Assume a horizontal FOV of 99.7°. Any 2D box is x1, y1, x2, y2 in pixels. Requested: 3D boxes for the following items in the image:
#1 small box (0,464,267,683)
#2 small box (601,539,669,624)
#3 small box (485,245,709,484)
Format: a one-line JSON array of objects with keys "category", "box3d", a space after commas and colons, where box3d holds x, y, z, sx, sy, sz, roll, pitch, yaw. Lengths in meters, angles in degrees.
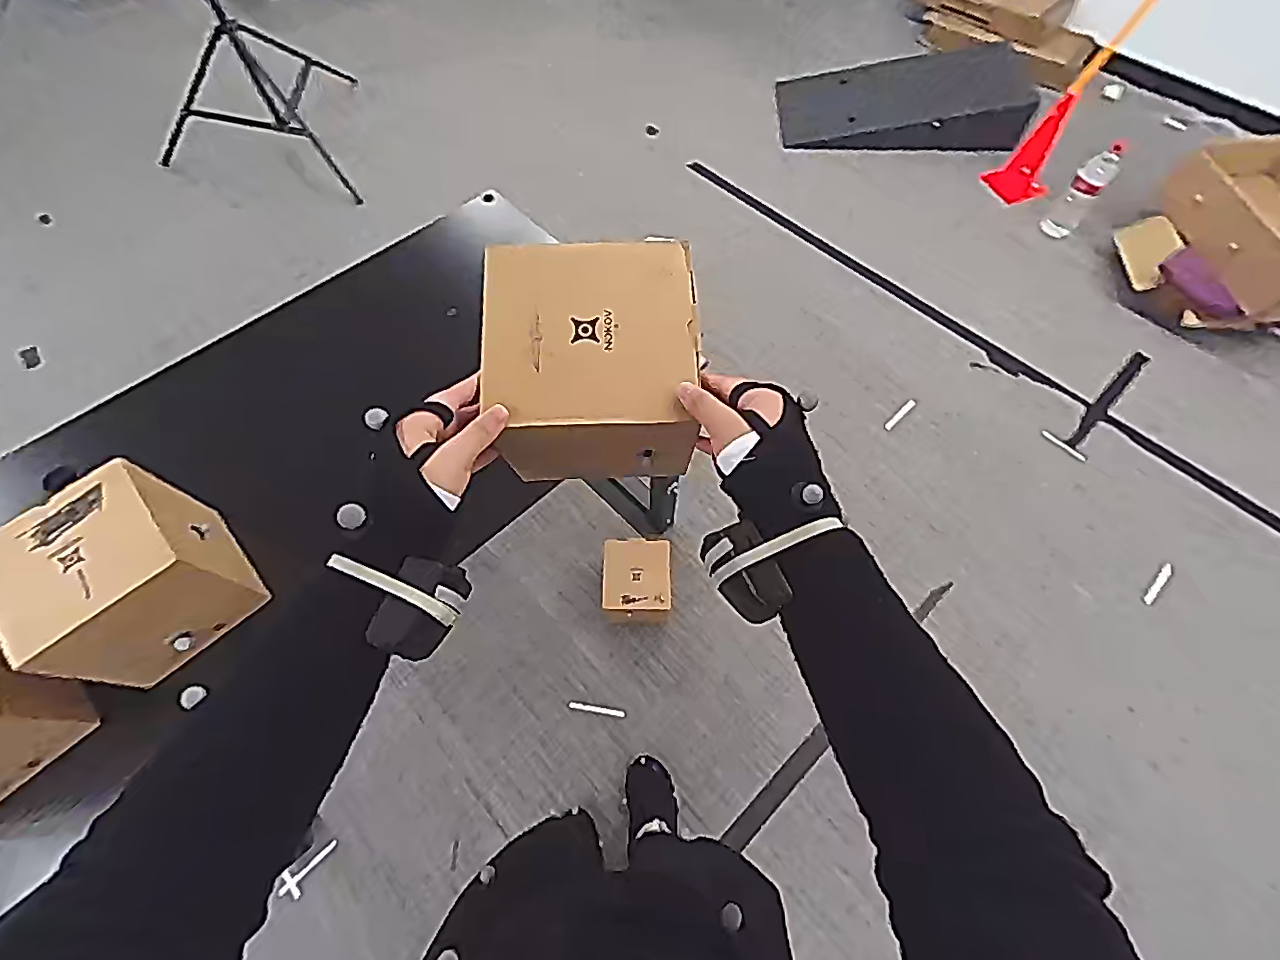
[{"category": "small box", "box3d": [-0.606, 0.120, 0.648, 0.168, 0.176, 0.179, -41, 71, -18]}, {"category": "small box", "box3d": [-0.013, 0.264, 1.389, 0.168, 0.176, 0.179, 0, 63, 0]}, {"category": "small box", "box3d": [-0.036, -0.096, 0.513, 0.179, 0.176, 0.168, -3, 75, 0]}]
